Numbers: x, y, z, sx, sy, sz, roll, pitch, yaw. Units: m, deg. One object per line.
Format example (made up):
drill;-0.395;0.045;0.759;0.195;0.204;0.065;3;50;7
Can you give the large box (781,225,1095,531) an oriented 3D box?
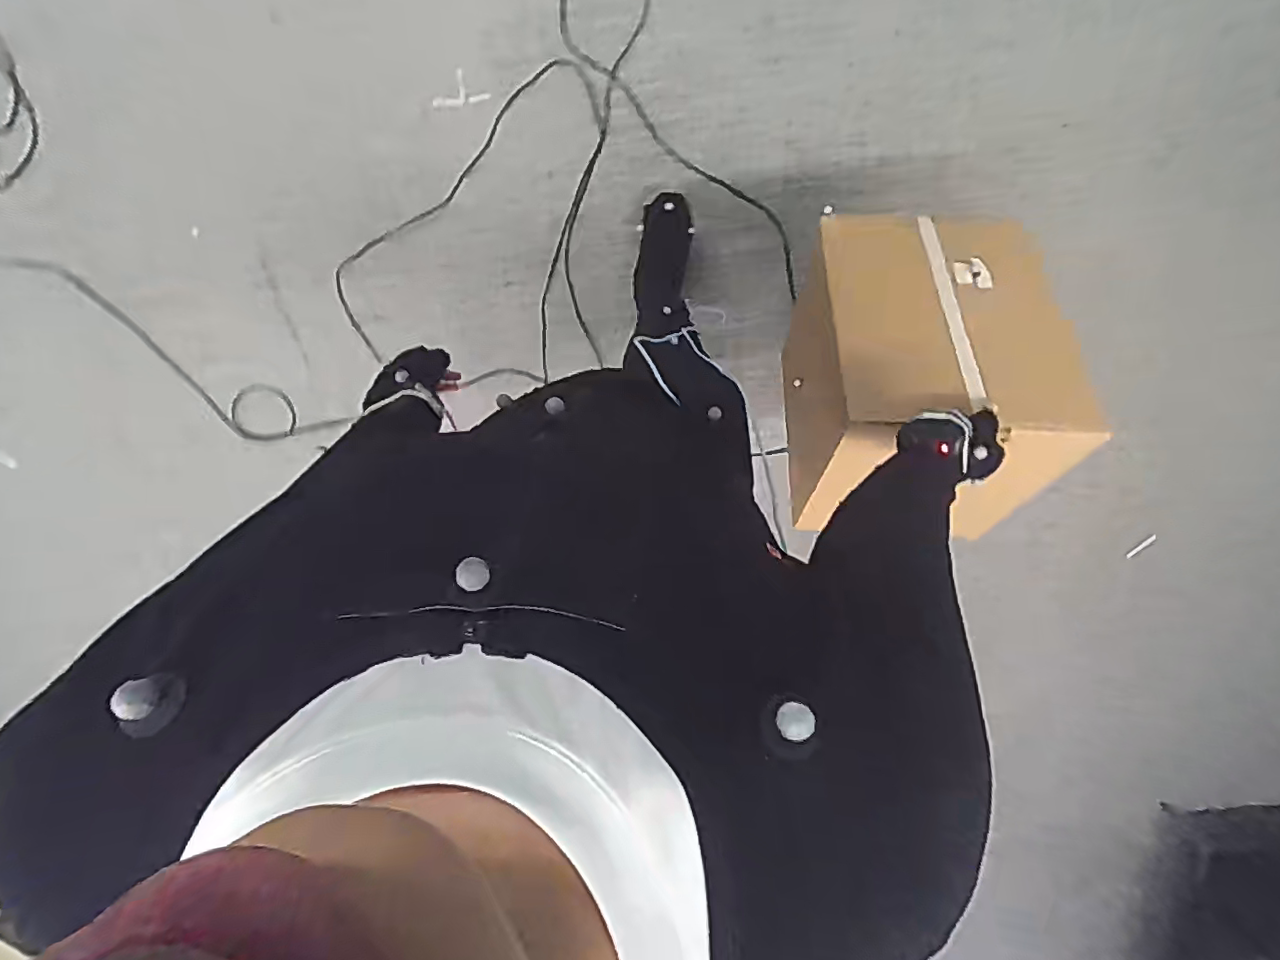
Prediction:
large box;0.428;-0.159;0.901;0.320;0.408;0.320;4;149;2
